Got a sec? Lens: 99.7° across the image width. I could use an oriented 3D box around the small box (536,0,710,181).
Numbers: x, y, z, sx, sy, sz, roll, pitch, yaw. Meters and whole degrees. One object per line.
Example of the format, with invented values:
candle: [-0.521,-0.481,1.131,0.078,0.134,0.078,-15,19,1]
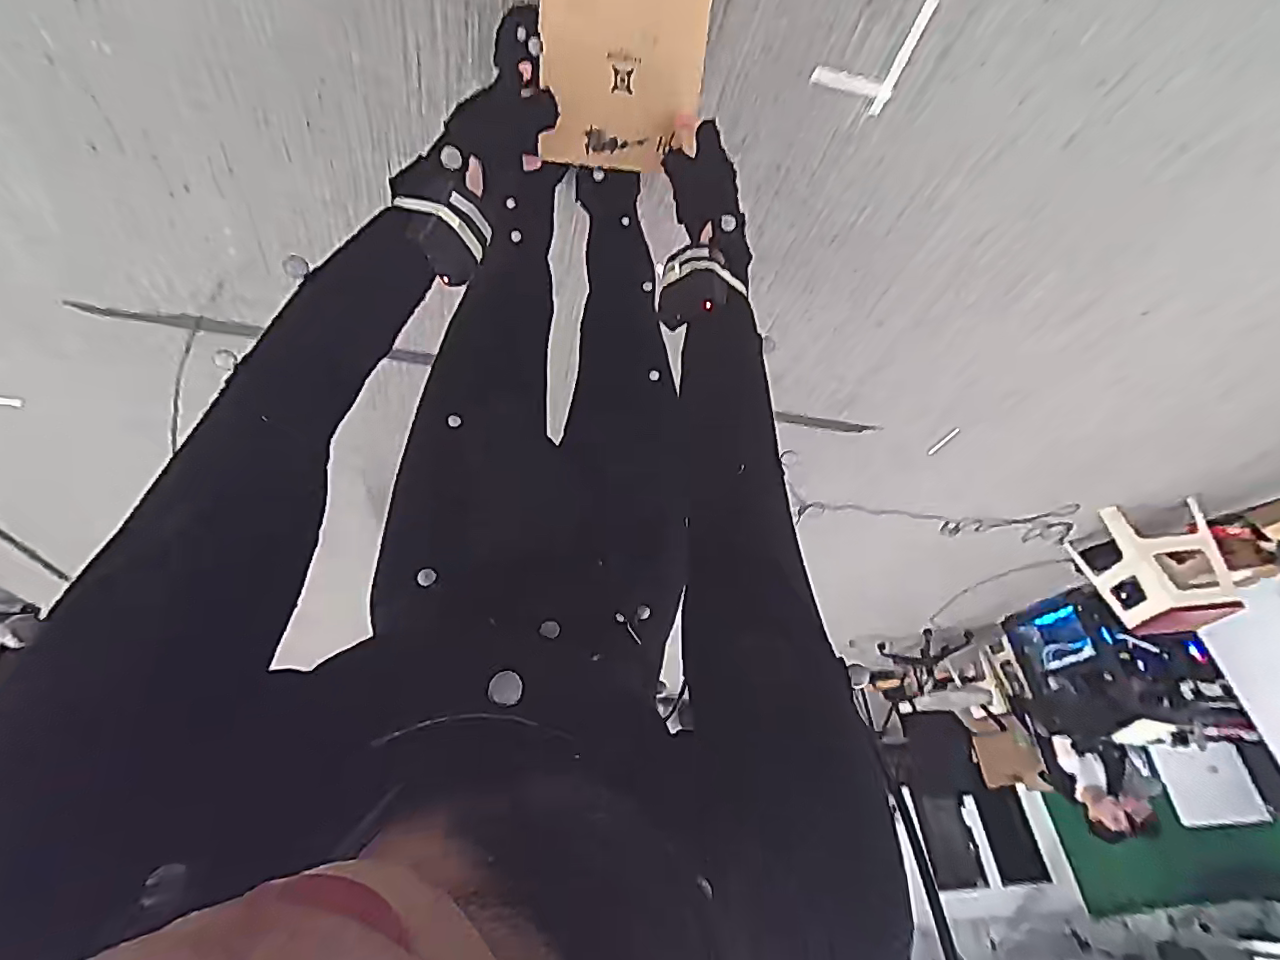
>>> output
small box: [-0.033,-0.452,0.616,0.168,0.176,0.179,0,121,-12]
